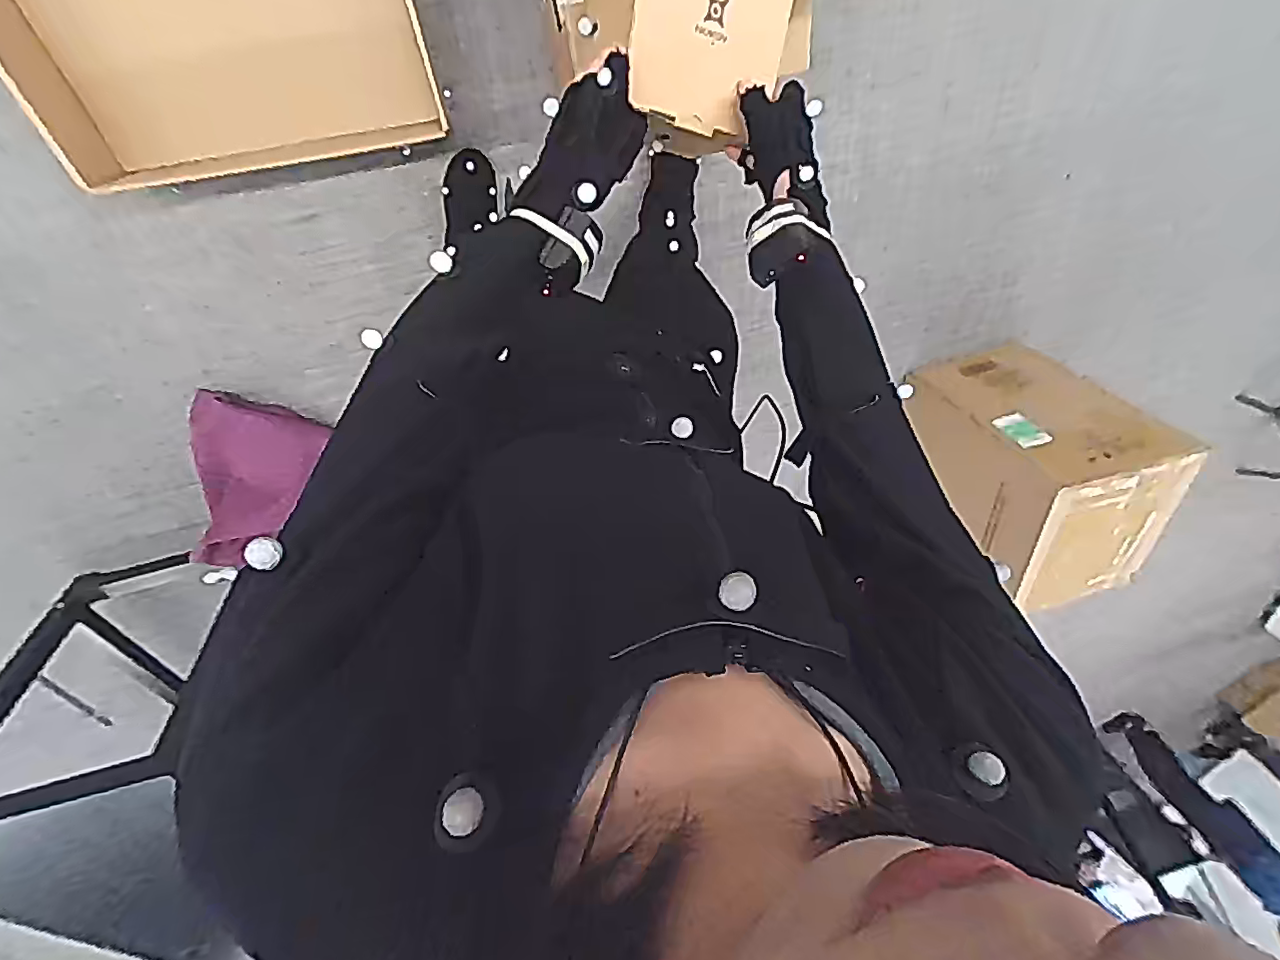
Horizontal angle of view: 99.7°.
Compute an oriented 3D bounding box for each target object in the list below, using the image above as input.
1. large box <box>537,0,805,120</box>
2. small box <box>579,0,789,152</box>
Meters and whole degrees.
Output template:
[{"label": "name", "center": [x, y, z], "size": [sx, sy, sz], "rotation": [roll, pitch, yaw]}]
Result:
[{"label": "large box", "center": [0.033, -0.858, 0.940], "size": [0.408, 0.320, 0.320], "rotation": [-16, 130, -5]}, {"label": "small box", "center": [0.037, -0.477, 0.591], "size": [0.168, 0.176, 0.179], "rotation": [-1, 115, -24]}]
